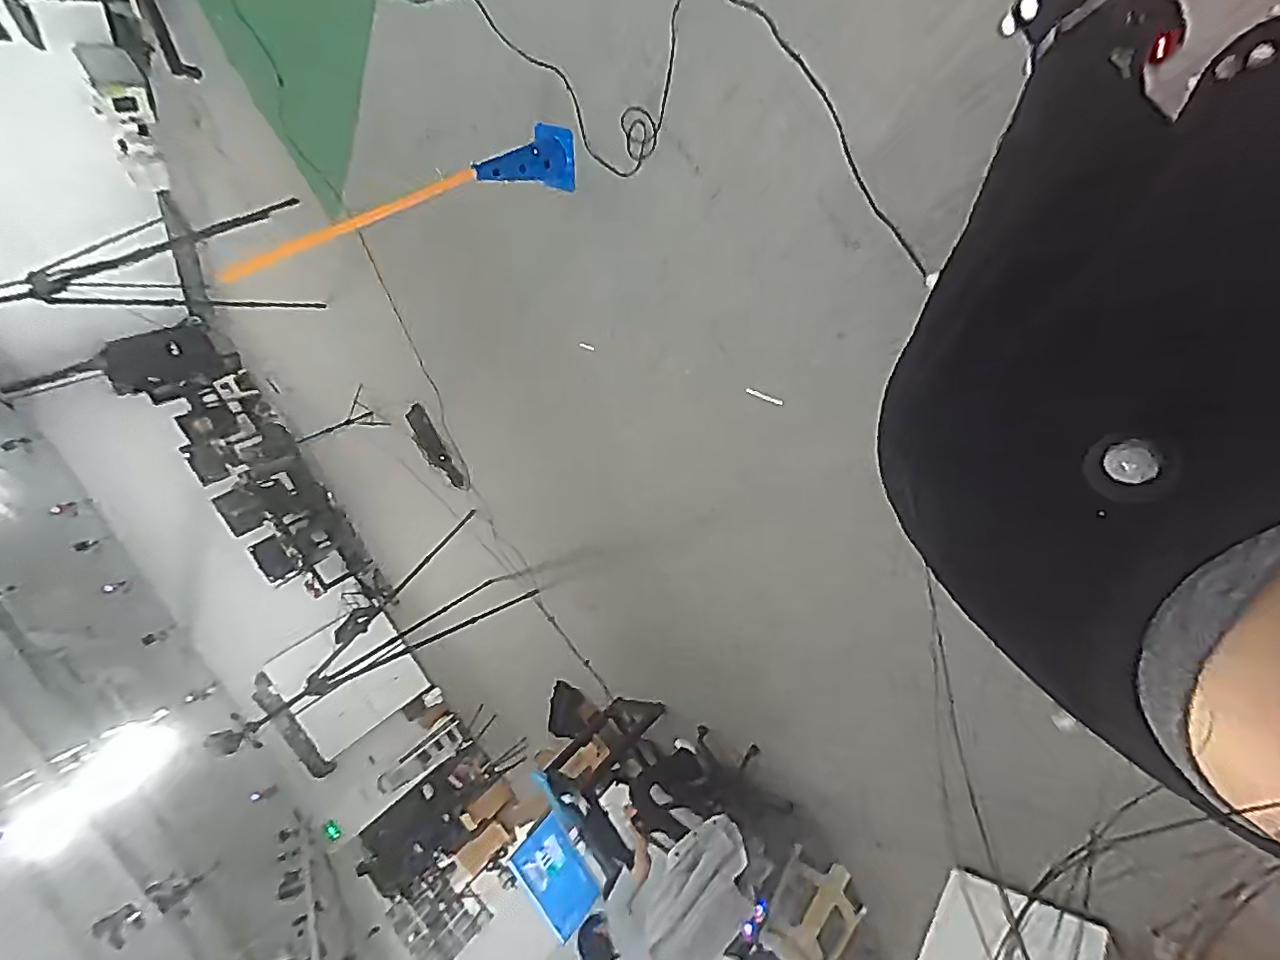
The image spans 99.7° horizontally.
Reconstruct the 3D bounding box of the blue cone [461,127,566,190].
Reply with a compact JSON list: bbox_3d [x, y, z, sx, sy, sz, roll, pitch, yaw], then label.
[{"bbox_3d":[-0.443,-1.083,1.862,0.192,0.380,0.193,29,138,30],"label":"blue cone"}]
